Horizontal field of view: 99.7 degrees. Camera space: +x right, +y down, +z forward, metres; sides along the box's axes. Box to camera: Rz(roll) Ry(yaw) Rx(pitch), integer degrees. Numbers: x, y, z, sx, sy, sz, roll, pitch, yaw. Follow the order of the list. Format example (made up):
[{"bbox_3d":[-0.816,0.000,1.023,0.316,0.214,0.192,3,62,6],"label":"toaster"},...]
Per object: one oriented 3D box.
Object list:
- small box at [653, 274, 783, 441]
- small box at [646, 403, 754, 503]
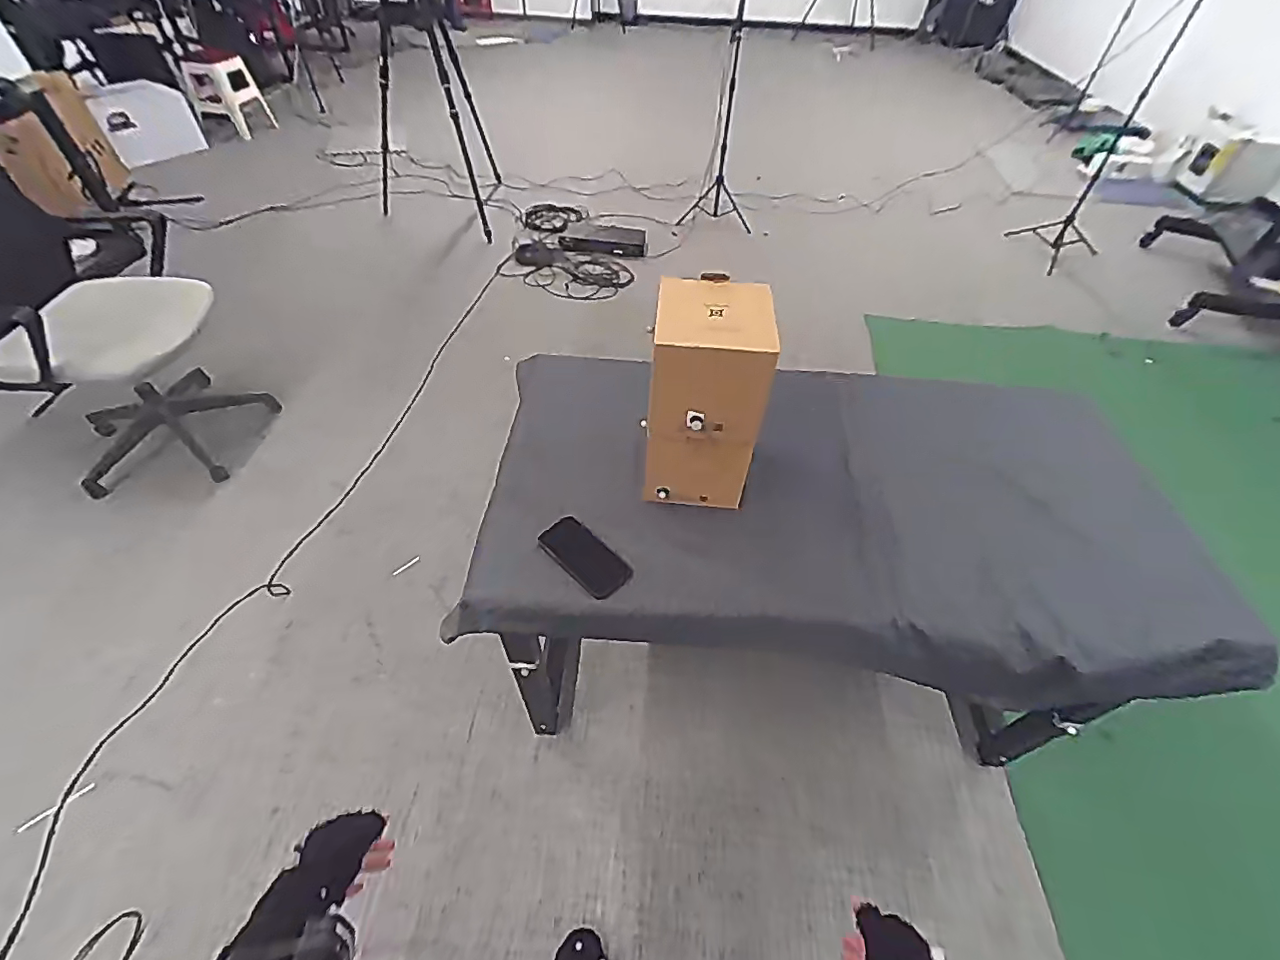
[{"bbox_3d":[0.108,-0.182,0.810,0.168,0.176,0.179,4,50,2],"label":"small box"},{"bbox_3d":[0.101,-0.080,0.935,0.168,0.176,0.179,6,48,2],"label":"small box"}]
